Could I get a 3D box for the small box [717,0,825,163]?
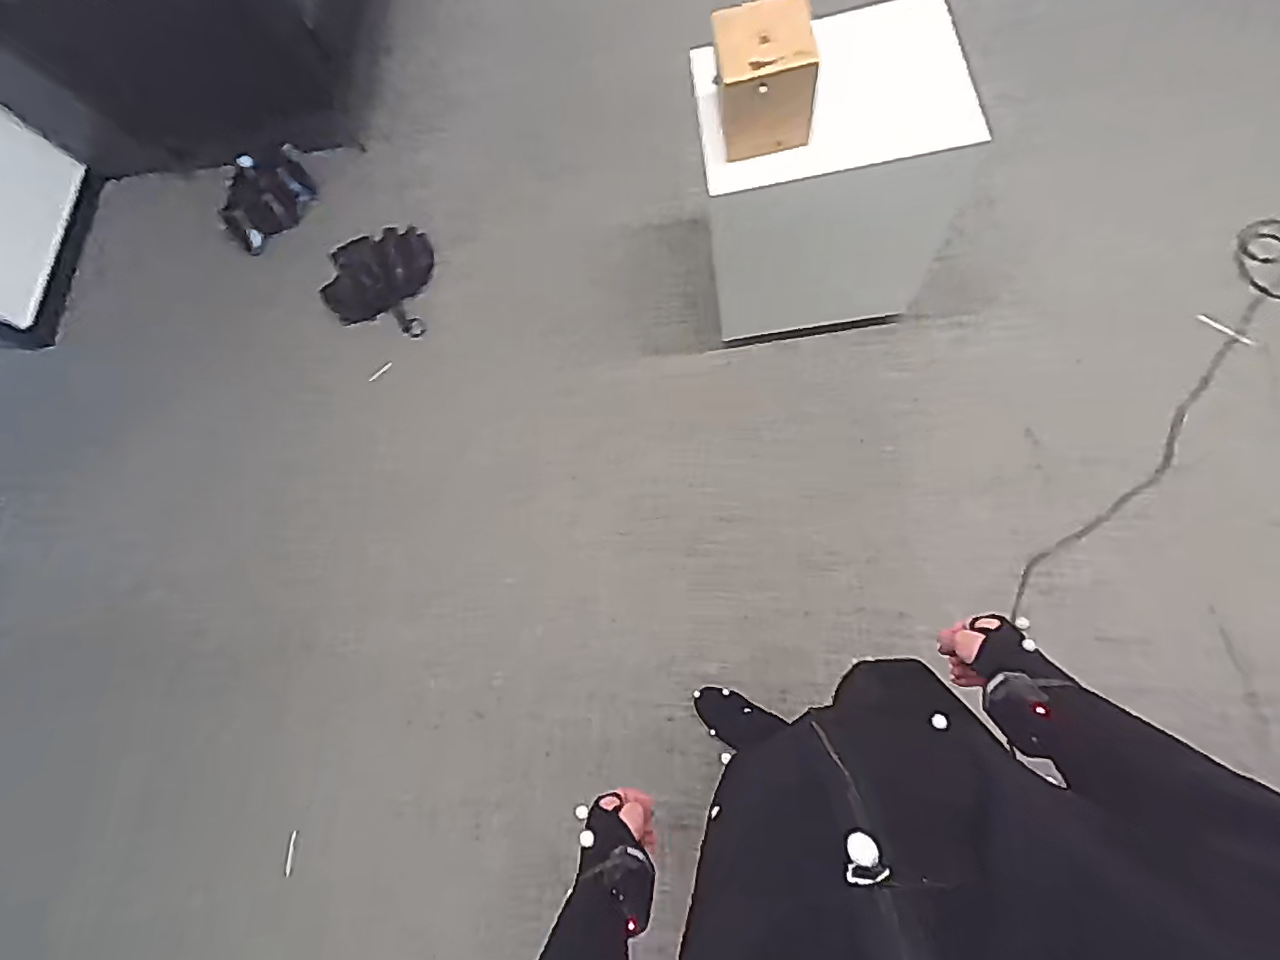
[{"bbox_3d":[0.237,-0.739,1.010,0.168,0.176,0.179,-8,72,9],"label":"small box"}]
